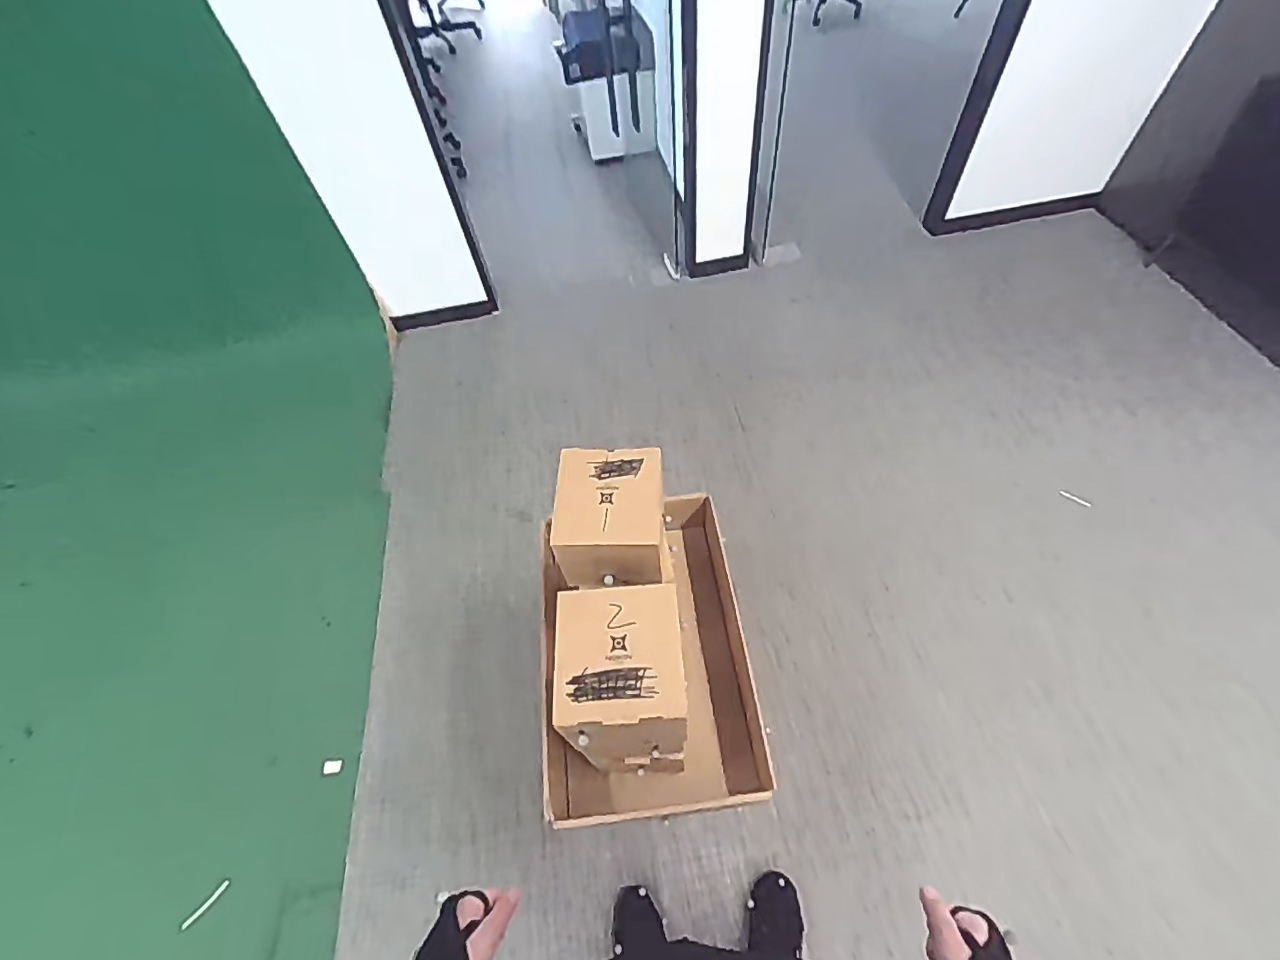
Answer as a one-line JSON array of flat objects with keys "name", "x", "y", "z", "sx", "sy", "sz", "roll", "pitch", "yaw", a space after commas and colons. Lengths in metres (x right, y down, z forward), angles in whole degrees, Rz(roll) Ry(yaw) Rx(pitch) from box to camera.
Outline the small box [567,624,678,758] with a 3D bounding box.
[{"name": "small box", "x": -0.024, "y": 0.357, "z": 0.903, "sx": 0.168, "sy": 0.176, "sz": 0.179, "roll": -4, "pitch": 54, "yaw": 1}]

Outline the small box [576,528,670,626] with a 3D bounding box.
[{"name": "small box", "x": -0.037, "y": 0.163, "z": 1.041, "sx": 0.168, "sy": 0.176, "sz": 0.179, "roll": -8, "pitch": 58, "yaw": -2}]

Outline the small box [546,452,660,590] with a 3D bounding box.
[{"name": "small box", "x": -0.052, "y": 0.070, "z": 0.906, "sx": 0.168, "sy": 0.176, "sz": 0.179, "roll": -1, "pitch": 58, "yaw": 4}]

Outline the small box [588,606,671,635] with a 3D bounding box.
[{"name": "small box", "x": -0.026, "y": 0.250, "z": 1.177, "sx": 0.168, "sy": 0.176, "sz": 0.179, "roll": -9, "pitch": 57, "yaw": -1}]
